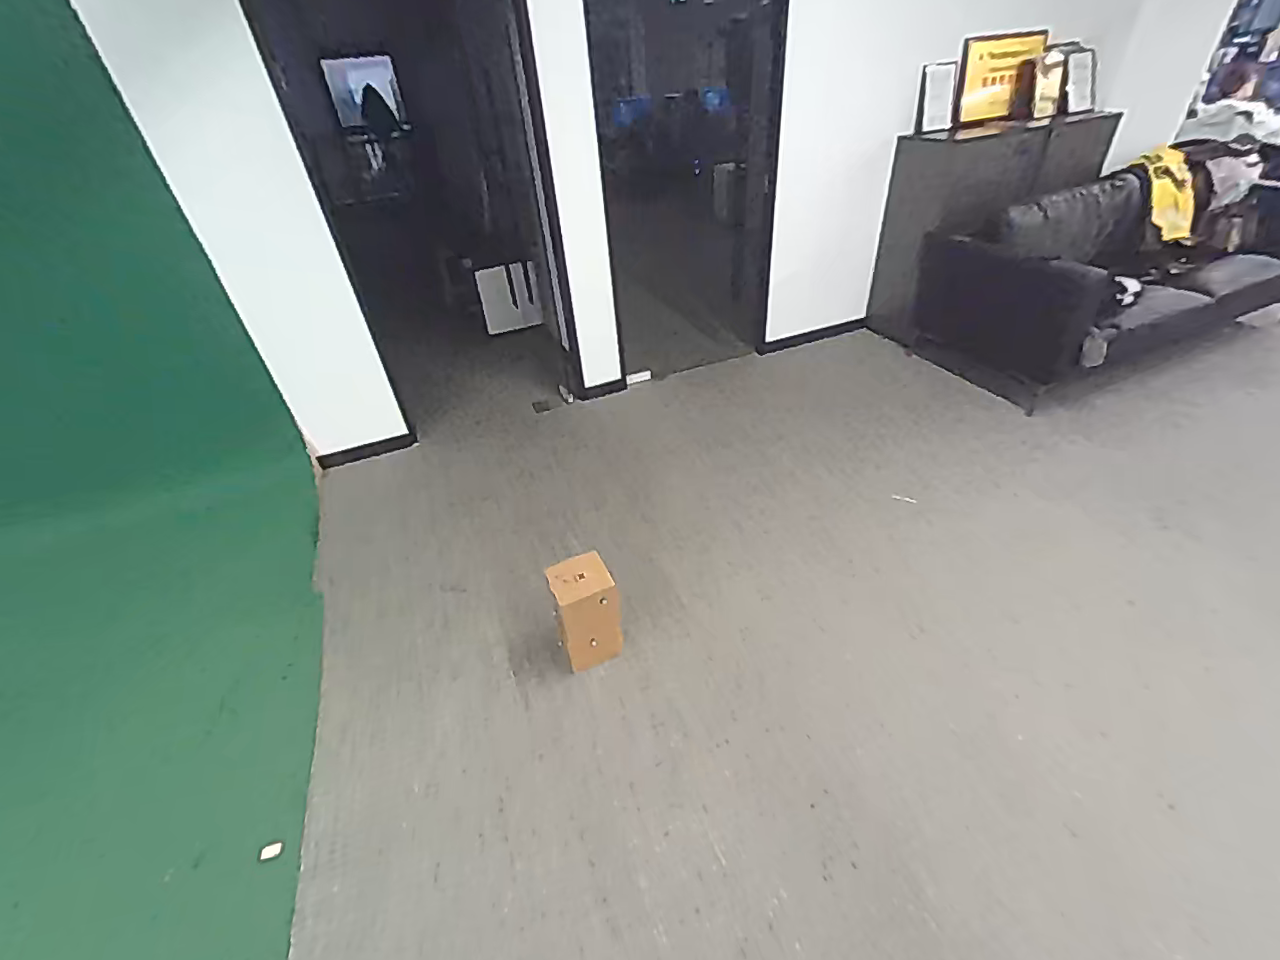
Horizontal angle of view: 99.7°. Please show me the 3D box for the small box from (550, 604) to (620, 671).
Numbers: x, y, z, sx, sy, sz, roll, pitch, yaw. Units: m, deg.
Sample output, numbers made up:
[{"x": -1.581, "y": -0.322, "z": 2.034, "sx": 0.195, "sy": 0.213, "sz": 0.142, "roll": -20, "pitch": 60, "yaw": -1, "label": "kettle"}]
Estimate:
[{"x": -0.172, "y": 0.480, "z": 1.749, "sx": 0.179, "sy": 0.176, "sz": 0.168, "roll": -20, "pitch": 41, "yaw": -17, "label": "small box"}]

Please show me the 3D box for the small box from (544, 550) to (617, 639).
[{"x": -0.176, "y": 0.349, "z": 1.648, "sx": 0.179, "sy": 0.176, "sz": 0.168, "roll": -19, "pitch": 40, "yaw": -17, "label": "small box"}]
